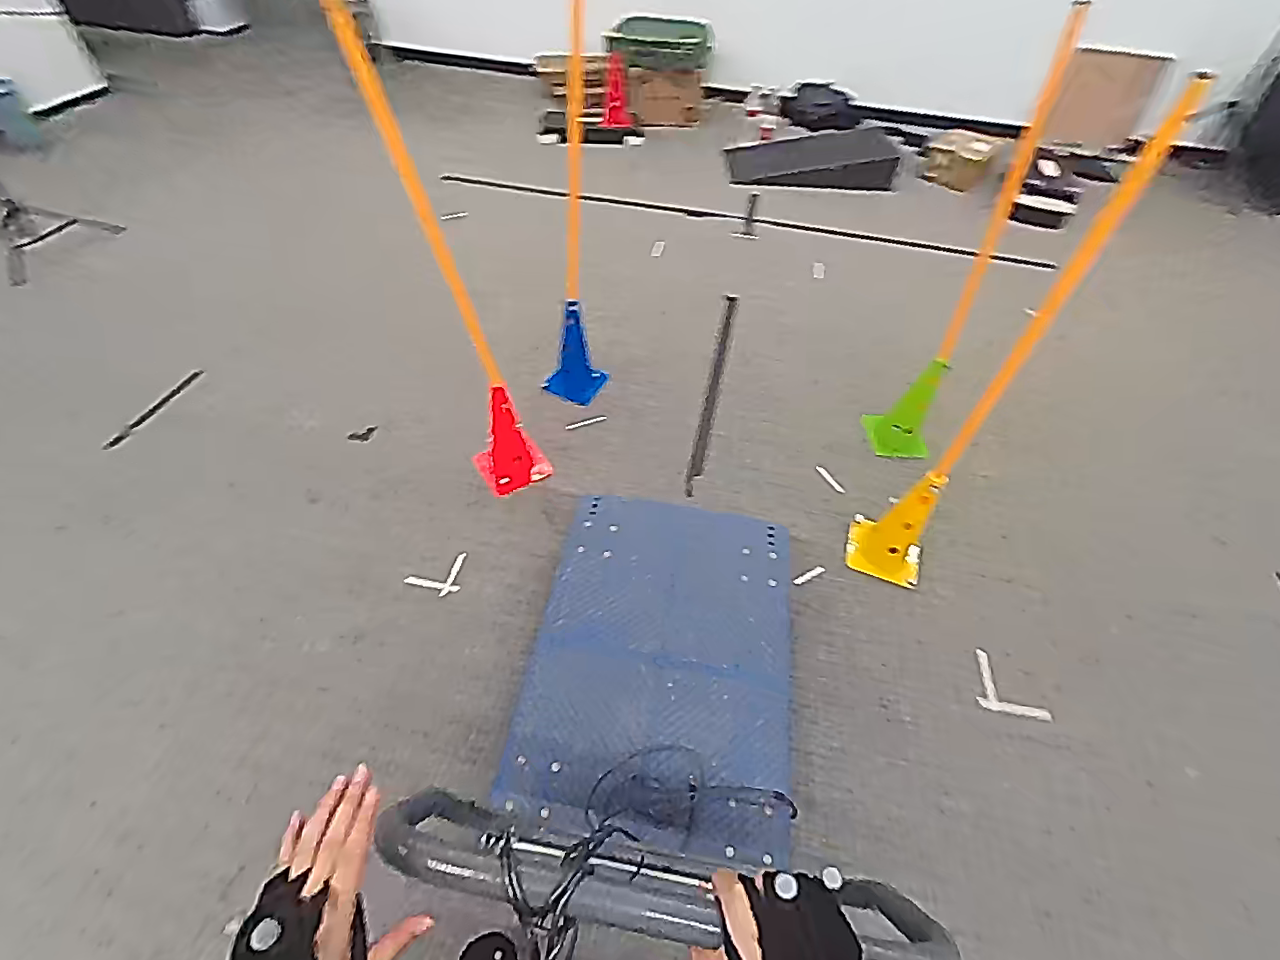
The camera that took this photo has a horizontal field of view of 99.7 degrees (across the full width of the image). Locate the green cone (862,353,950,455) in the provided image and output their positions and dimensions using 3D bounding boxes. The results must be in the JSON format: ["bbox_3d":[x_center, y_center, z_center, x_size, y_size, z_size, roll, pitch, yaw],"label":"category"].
[{"bbox_3d":[0.924,-0.273,1.813,0.200,0.368,0.202,1,52,-3],"label":"green cone"}]

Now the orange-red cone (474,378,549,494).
[{"bbox_3d":[-0.407,-0.160,1.629,0.199,0.360,0.198,-24,57,-23],"label":"orange-red cone"}]

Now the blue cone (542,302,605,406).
[{"bbox_3d":[-0.238,-0.463,1.906,0.193,0.380,0.192,23,54,14],"label":"blue cone"}]
